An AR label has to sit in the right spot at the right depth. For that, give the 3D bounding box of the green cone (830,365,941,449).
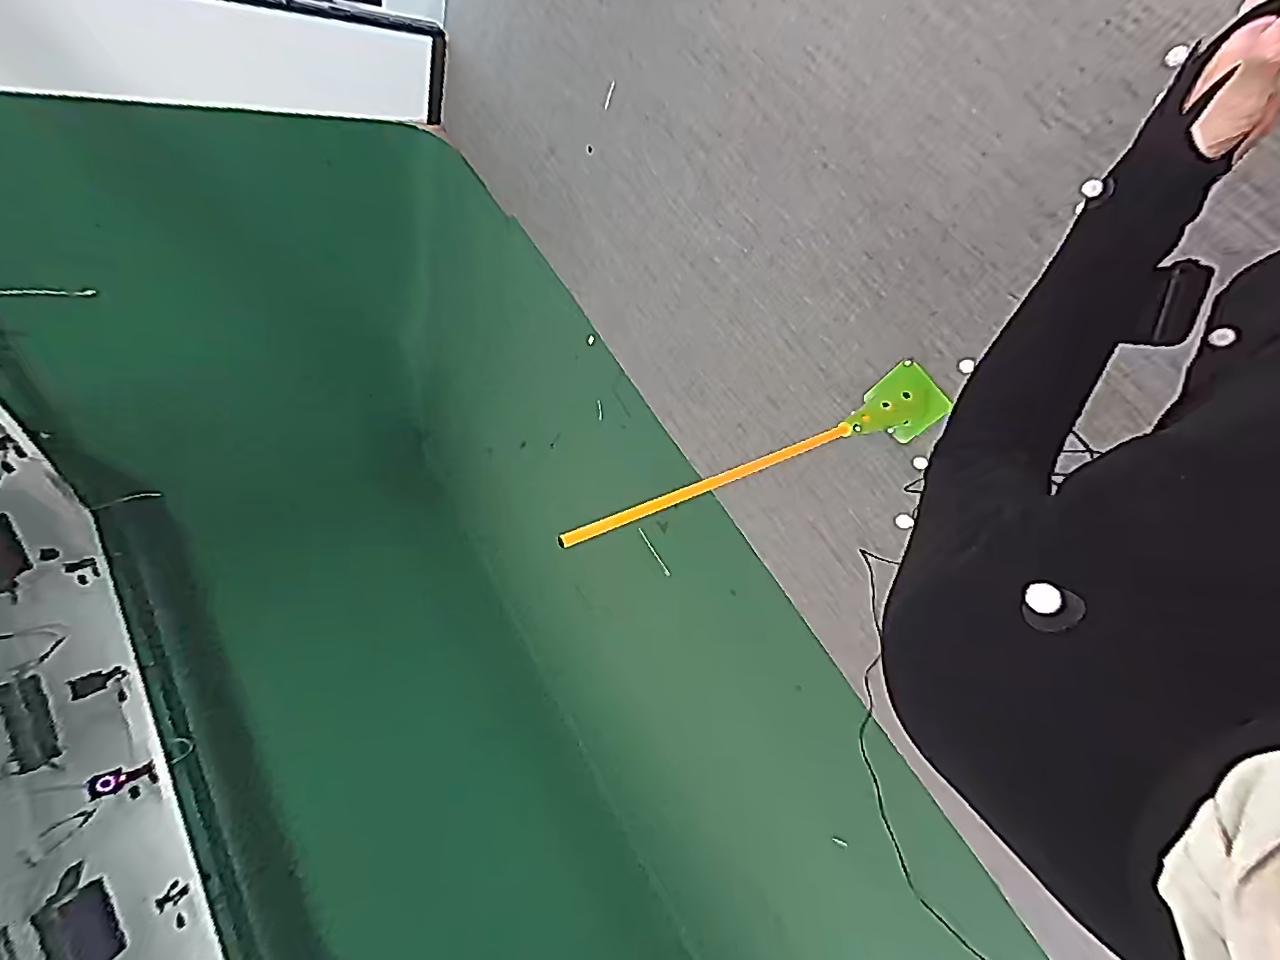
[{"bbox_3d":[0.647,-0.166,1.539,0.202,0.368,0.200,56,143,15],"label":"green cone"}]
